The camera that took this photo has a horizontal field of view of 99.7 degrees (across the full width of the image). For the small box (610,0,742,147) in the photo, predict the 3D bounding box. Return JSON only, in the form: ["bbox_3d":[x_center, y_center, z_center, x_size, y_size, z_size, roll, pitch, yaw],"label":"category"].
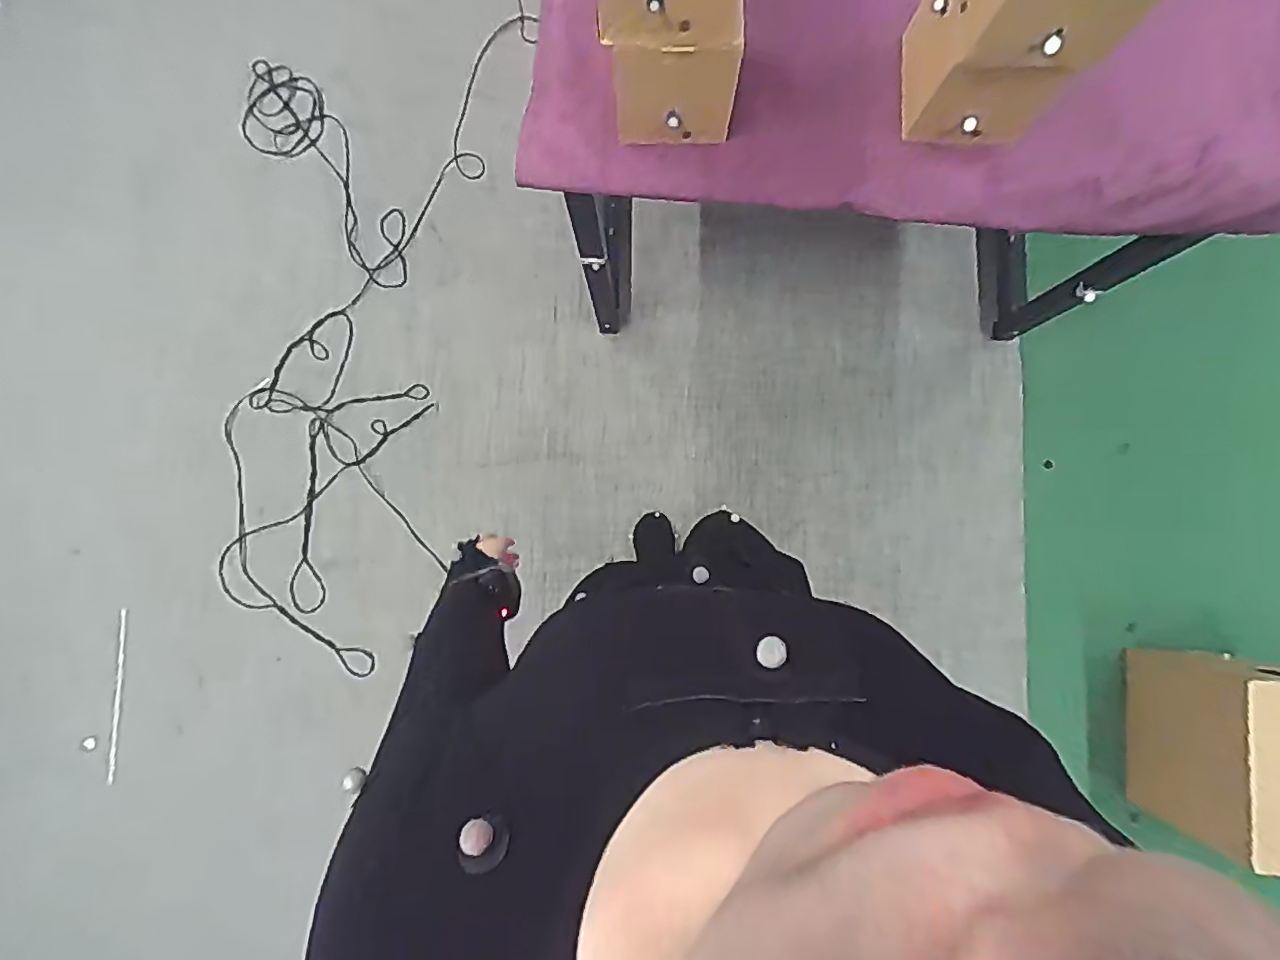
[{"bbox_3d":[0.046,-0.604,0.752,0.168,0.176,0.179,0,84,2],"label":"small box"}]

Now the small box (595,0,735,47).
[{"bbox_3d":[0.028,-0.628,0.592,0.168,0.176,0.179,0,84,1],"label":"small box"}]

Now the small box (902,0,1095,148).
[{"bbox_3d":[0.481,-0.601,0.746,0.168,0.176,0.179,3,85,2],"label":"small box"}]

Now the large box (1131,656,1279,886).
[{"bbox_3d":[1.448,0.657,1.276,0.320,0.320,0.408,3,86,2],"label":"large box"}]

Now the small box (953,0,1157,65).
[{"bbox_3d":[0.469,-0.588,0.581,0.179,0.176,0.168,0,85,1],"label":"small box"}]
